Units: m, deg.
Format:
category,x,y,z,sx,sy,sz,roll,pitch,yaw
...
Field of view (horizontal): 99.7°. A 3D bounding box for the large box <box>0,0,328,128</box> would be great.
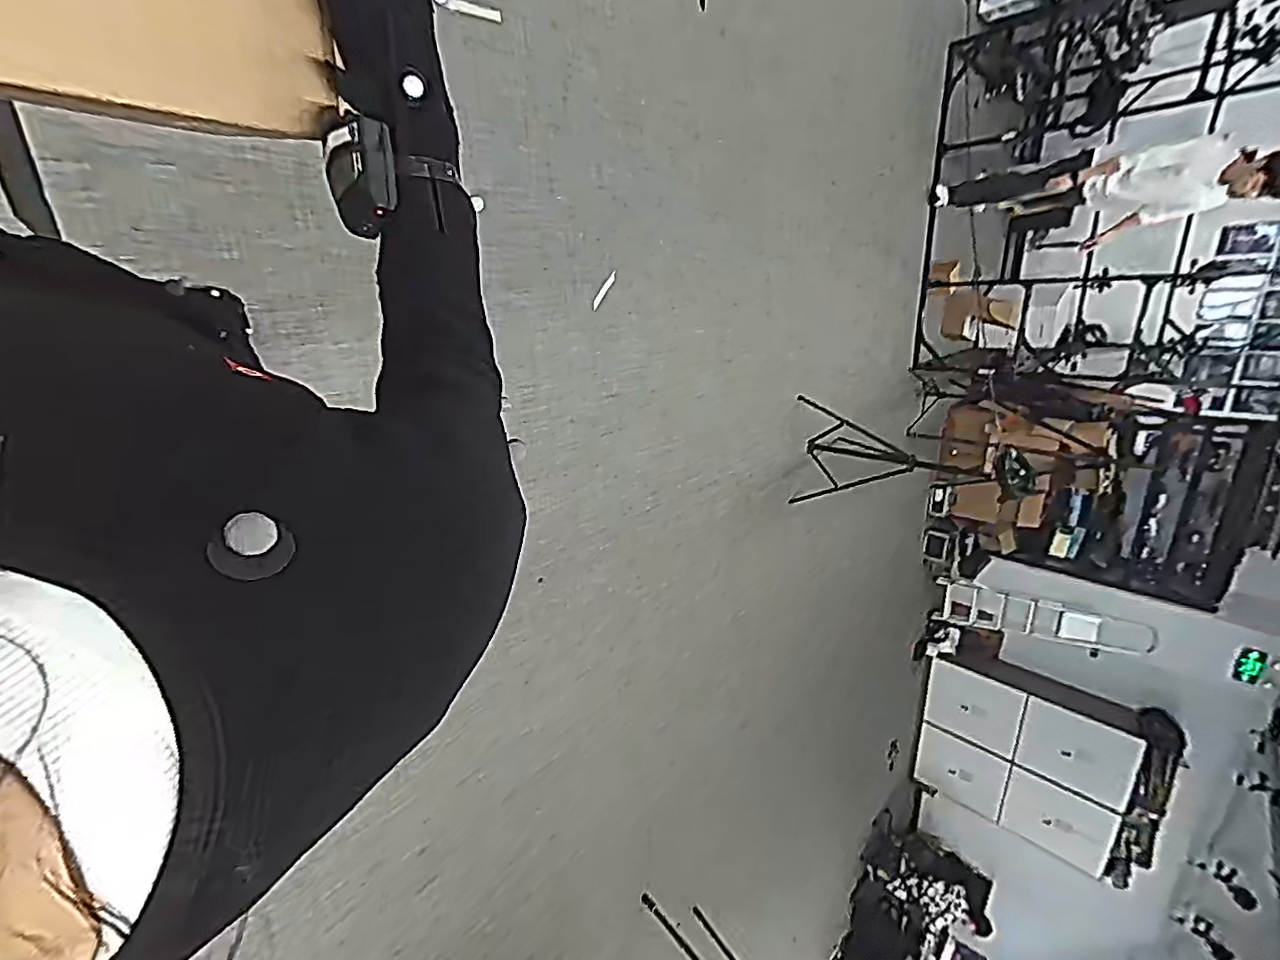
category,x,y,z,sx,sy,sz,roll,pitch,yaw
large box,-0.454,-0.402,0.285,0.408,0.320,0.320,-19,128,-42
